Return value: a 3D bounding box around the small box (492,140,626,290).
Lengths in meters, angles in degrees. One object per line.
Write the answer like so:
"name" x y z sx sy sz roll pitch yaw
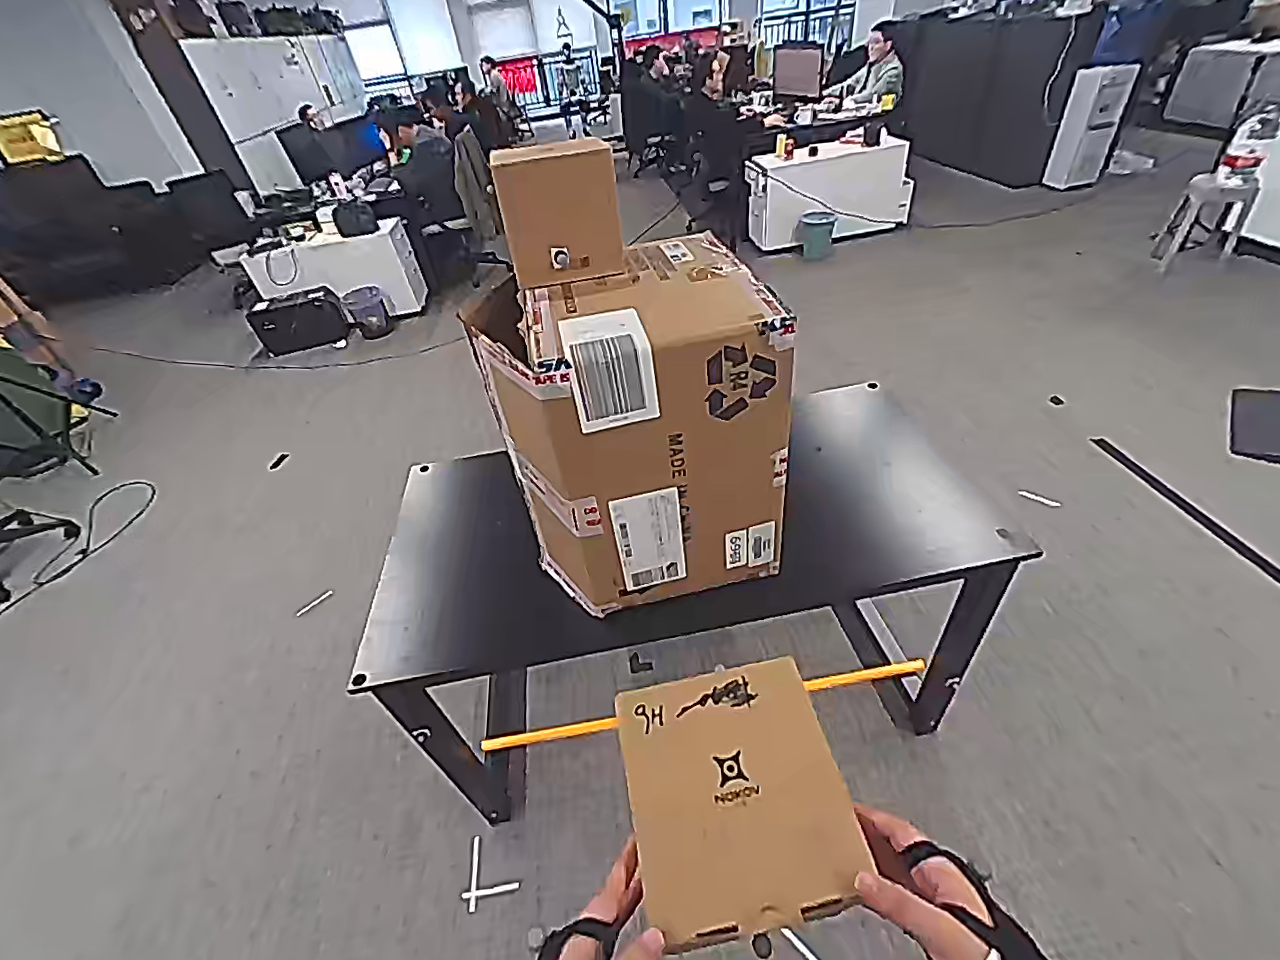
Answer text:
"small box" -0.124 -0.408 0.831 0.168 0.176 0.179 -13 38 -6
